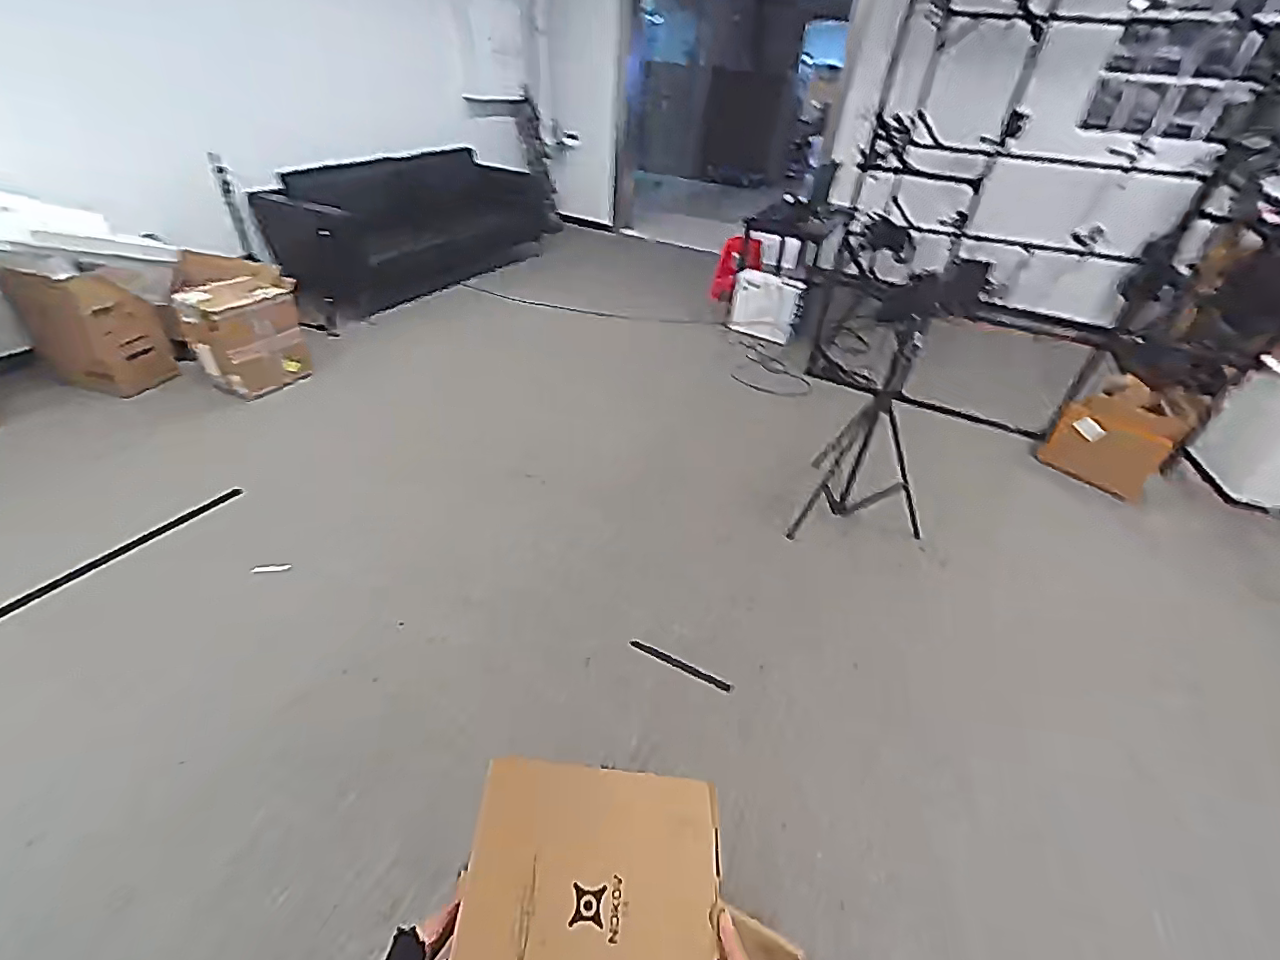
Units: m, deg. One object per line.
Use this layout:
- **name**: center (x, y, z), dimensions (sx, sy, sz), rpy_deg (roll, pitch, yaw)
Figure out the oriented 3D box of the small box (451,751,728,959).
- **small box**: center (-0.041, 0.324, 0.420), dimensions (0.179, 0.176, 0.168), rpy_deg (7, 51, -5)
